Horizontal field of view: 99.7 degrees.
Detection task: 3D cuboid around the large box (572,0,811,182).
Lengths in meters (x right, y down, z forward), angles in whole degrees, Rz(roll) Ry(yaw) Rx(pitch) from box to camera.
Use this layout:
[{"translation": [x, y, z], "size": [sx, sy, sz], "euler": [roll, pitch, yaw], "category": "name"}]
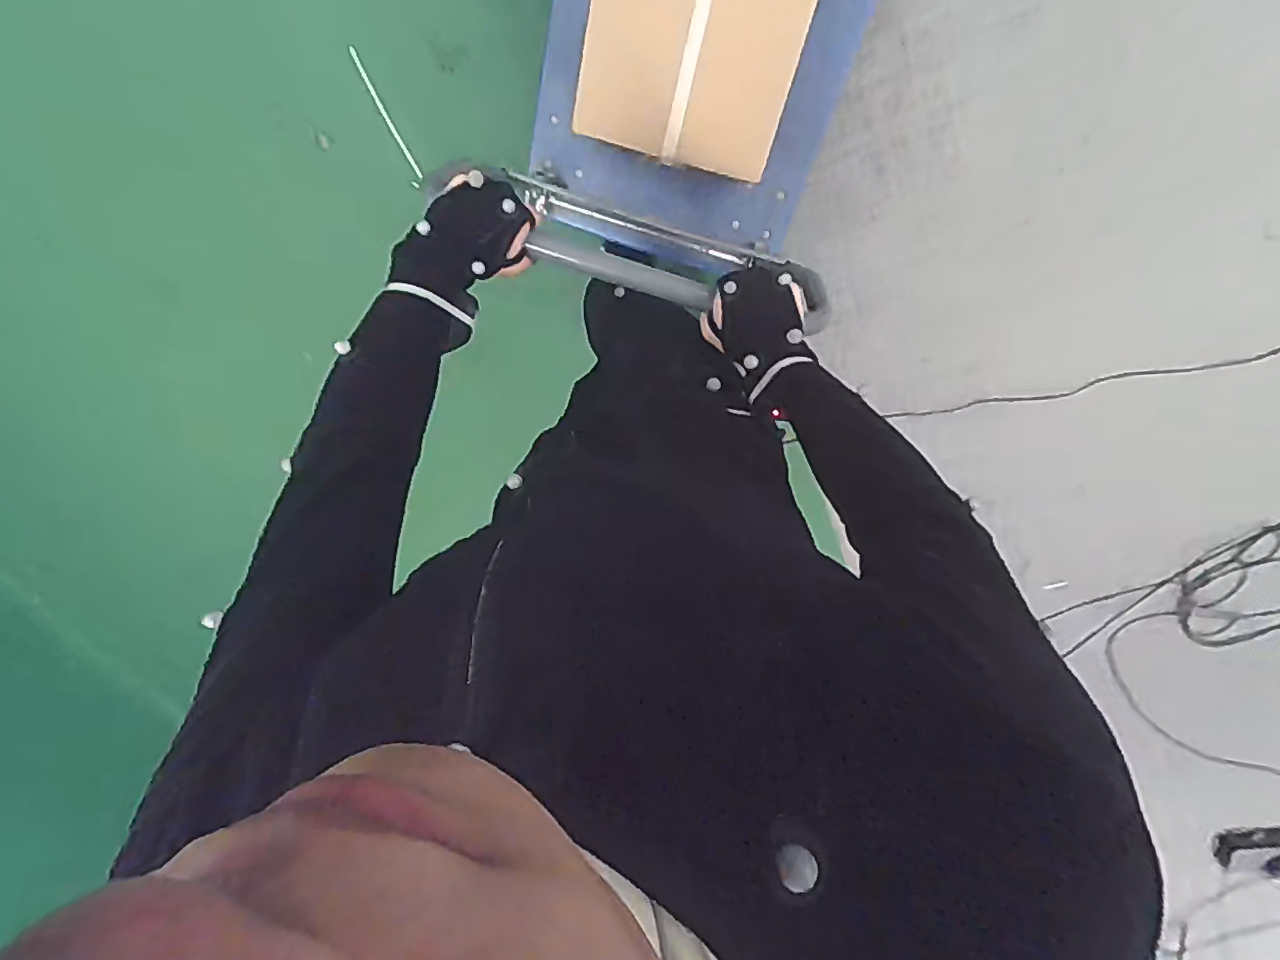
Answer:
[{"translation": [0.096, -0.756, 0.900], "size": [0.320, 0.320, 0.408], "euler": [14, 120, -4], "category": "large box"}]
